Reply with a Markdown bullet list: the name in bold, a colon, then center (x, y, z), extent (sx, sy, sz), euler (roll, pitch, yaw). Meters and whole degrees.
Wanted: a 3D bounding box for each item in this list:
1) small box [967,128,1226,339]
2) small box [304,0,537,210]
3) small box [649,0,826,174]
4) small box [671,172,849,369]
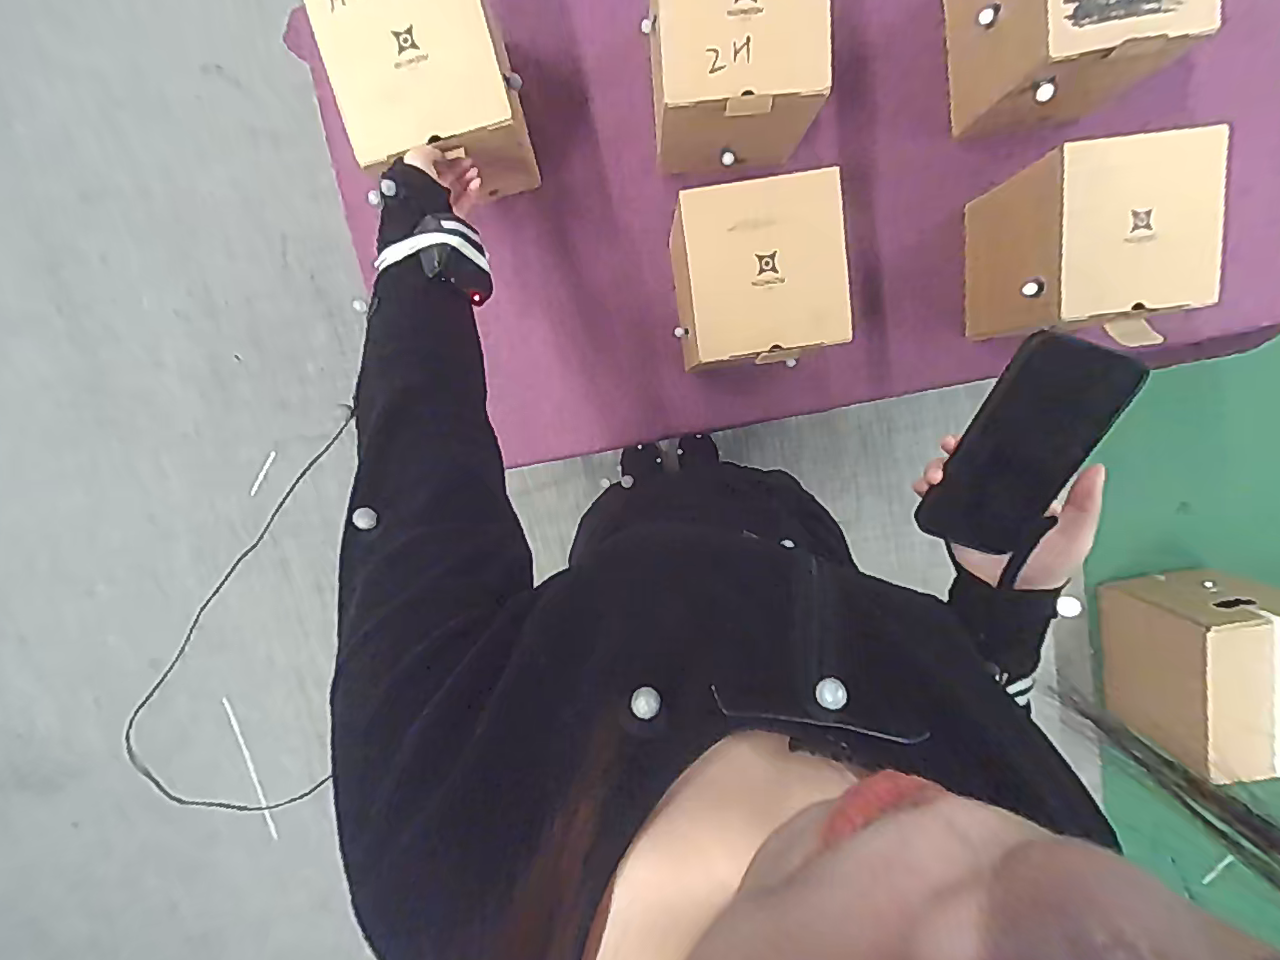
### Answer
- **small box**: center (0.507, -0.268, 0.627), extent (0.168, 0.176, 0.179), euler (-6, 99, 2)
- **small box**: center (-0.227, -0.427, 0.608), extent (0.168, 0.176, 0.179), euler (-15, 99, 2)
- **small box**: center (0.097, -0.470, 0.599), extent (0.168, 0.176, 0.179), euler (-4, 99, 1)
- **small box**: center (0.130, -0.228, 0.637), extent (0.168, 0.176, 0.179), euler (-8, 98, 1)
